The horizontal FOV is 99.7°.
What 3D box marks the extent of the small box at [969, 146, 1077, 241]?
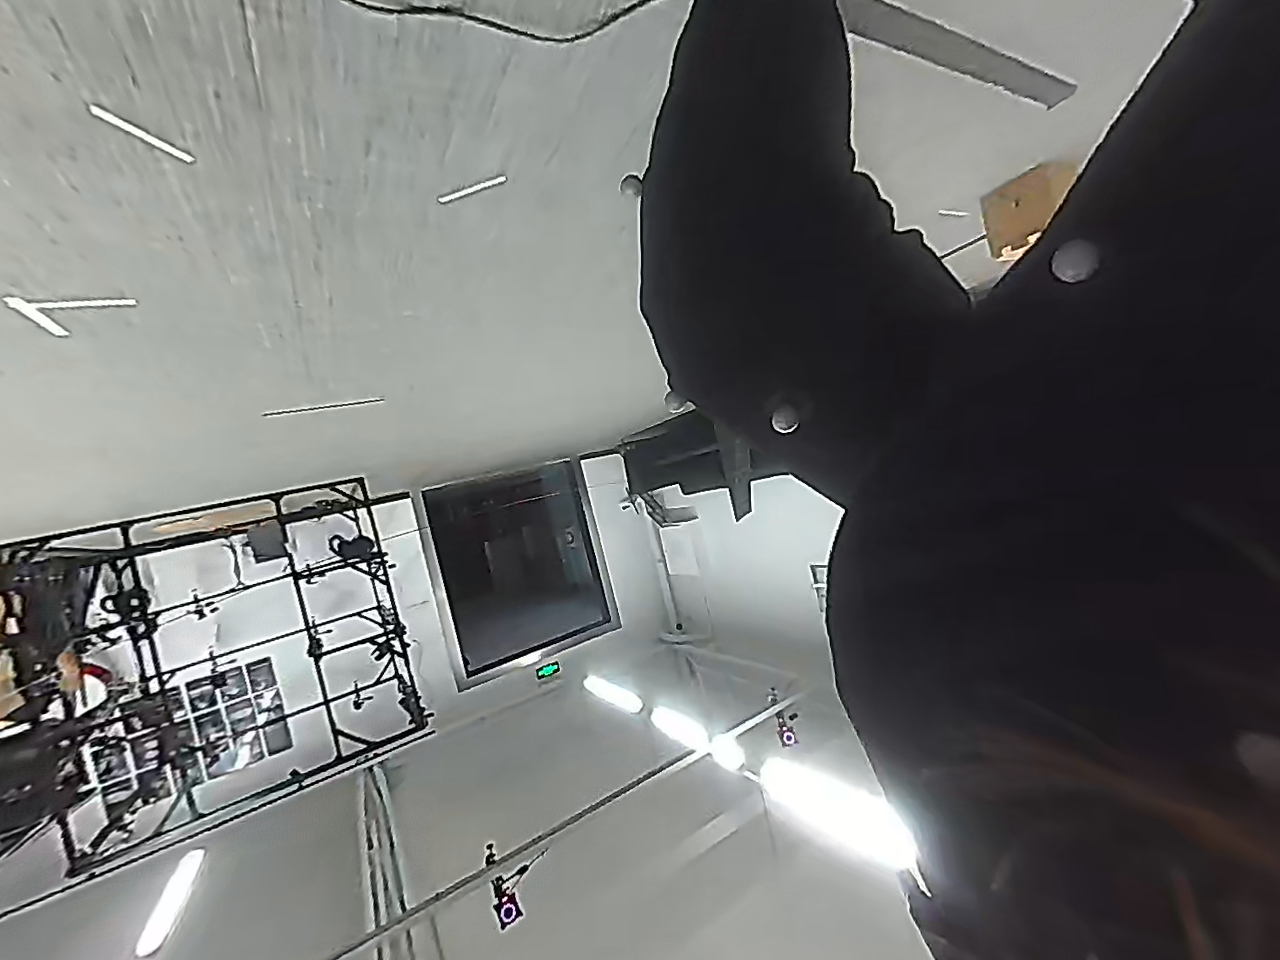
[{"bbox_3d":[1.022,-0.763,1.446,0.179,0.176,0.168,-15,-178,-27],"label":"small box"}]
